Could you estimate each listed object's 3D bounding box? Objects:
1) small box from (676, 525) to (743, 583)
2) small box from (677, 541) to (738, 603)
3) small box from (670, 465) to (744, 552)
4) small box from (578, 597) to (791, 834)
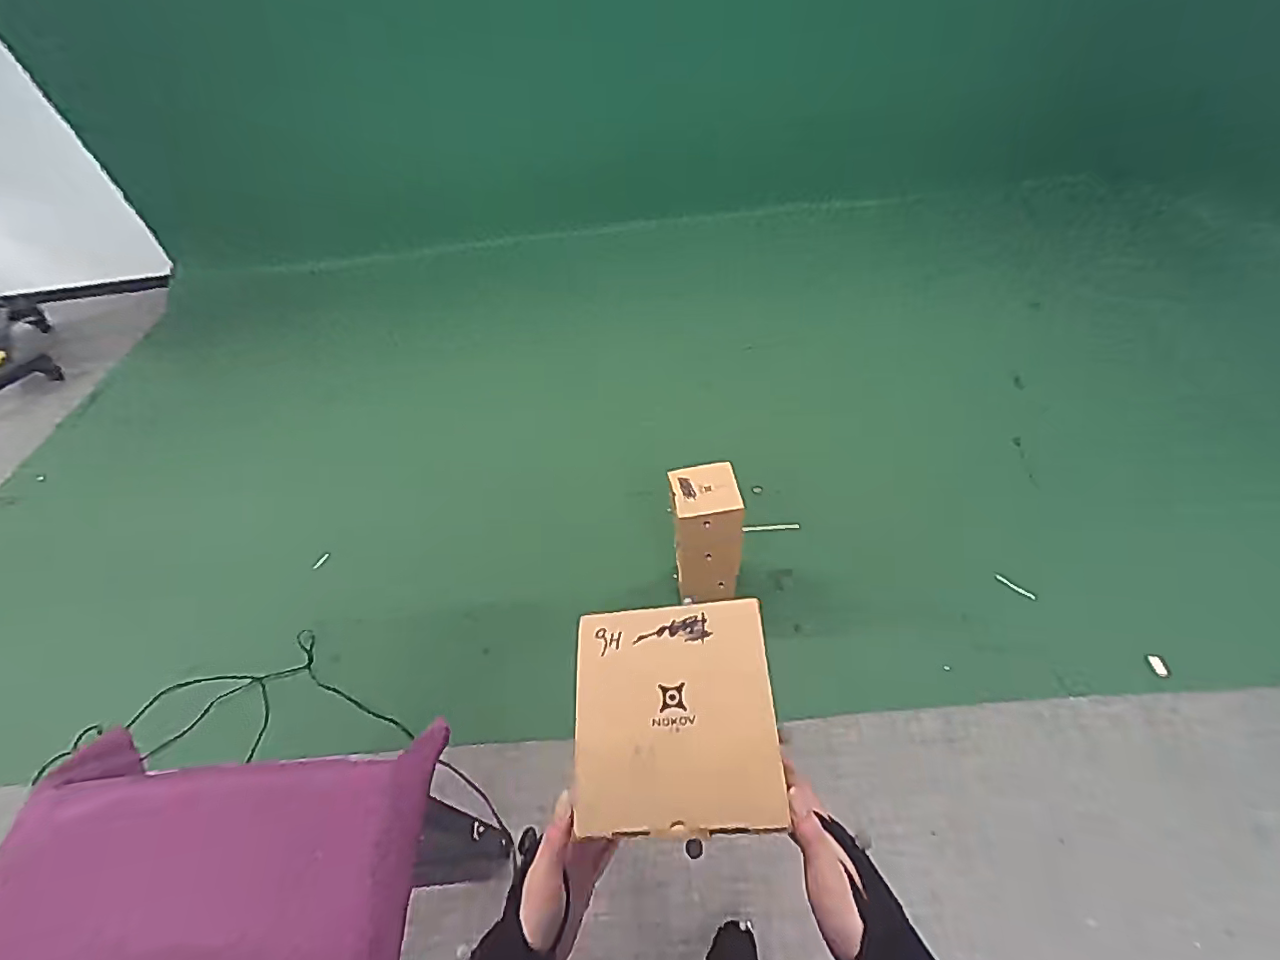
[{"bbox_3d":[0.206,0.192,1.624,0.179,0.176,0.168,-9,49,2],"label":"small box"},{"bbox_3d":[0.215,0.300,1.745,0.179,0.176,0.168,-6,49,3],"label":"small box"},{"bbox_3d":[0.184,0.084,1.501,0.179,0.176,0.168,-9,49,0],"label":"small box"},{"bbox_3d":[0.048,0.227,0.511,0.168,0.176,0.179,-7,56,9],"label":"small box"}]
